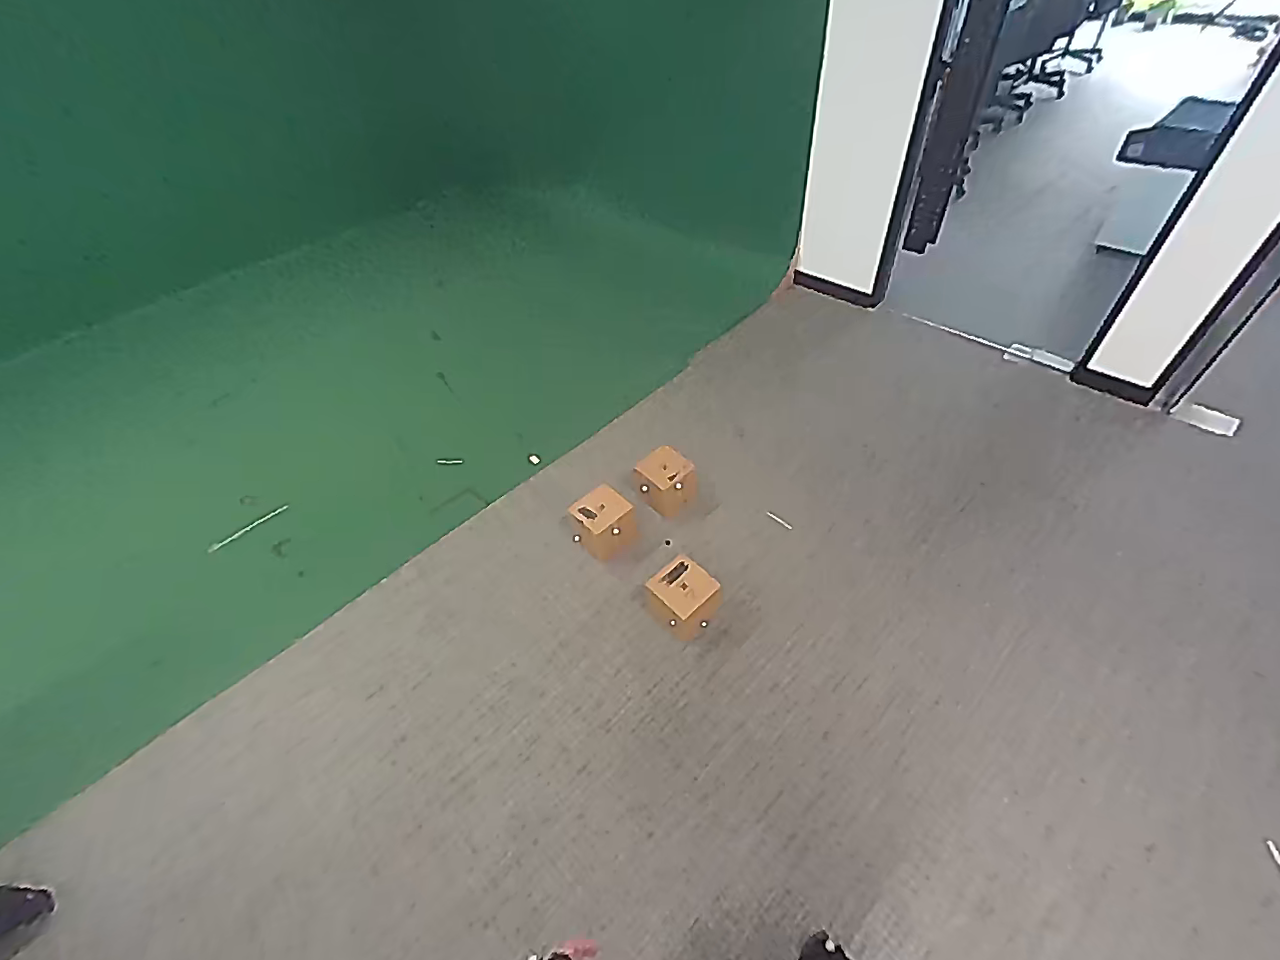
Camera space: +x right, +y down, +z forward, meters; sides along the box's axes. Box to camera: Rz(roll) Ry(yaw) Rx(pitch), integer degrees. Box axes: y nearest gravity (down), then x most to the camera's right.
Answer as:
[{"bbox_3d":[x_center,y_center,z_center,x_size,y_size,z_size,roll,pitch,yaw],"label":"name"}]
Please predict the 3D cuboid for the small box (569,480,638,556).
[{"bbox_3d":[-0.123,0.139,1.931,0.179,0.176,0.168,-37,55,-24],"label":"small box"}]

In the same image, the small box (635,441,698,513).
[{"bbox_3d":[0.103,-0.009,2.035,0.168,0.176,0.179,-35,53,-22],"label":"small box"}]
